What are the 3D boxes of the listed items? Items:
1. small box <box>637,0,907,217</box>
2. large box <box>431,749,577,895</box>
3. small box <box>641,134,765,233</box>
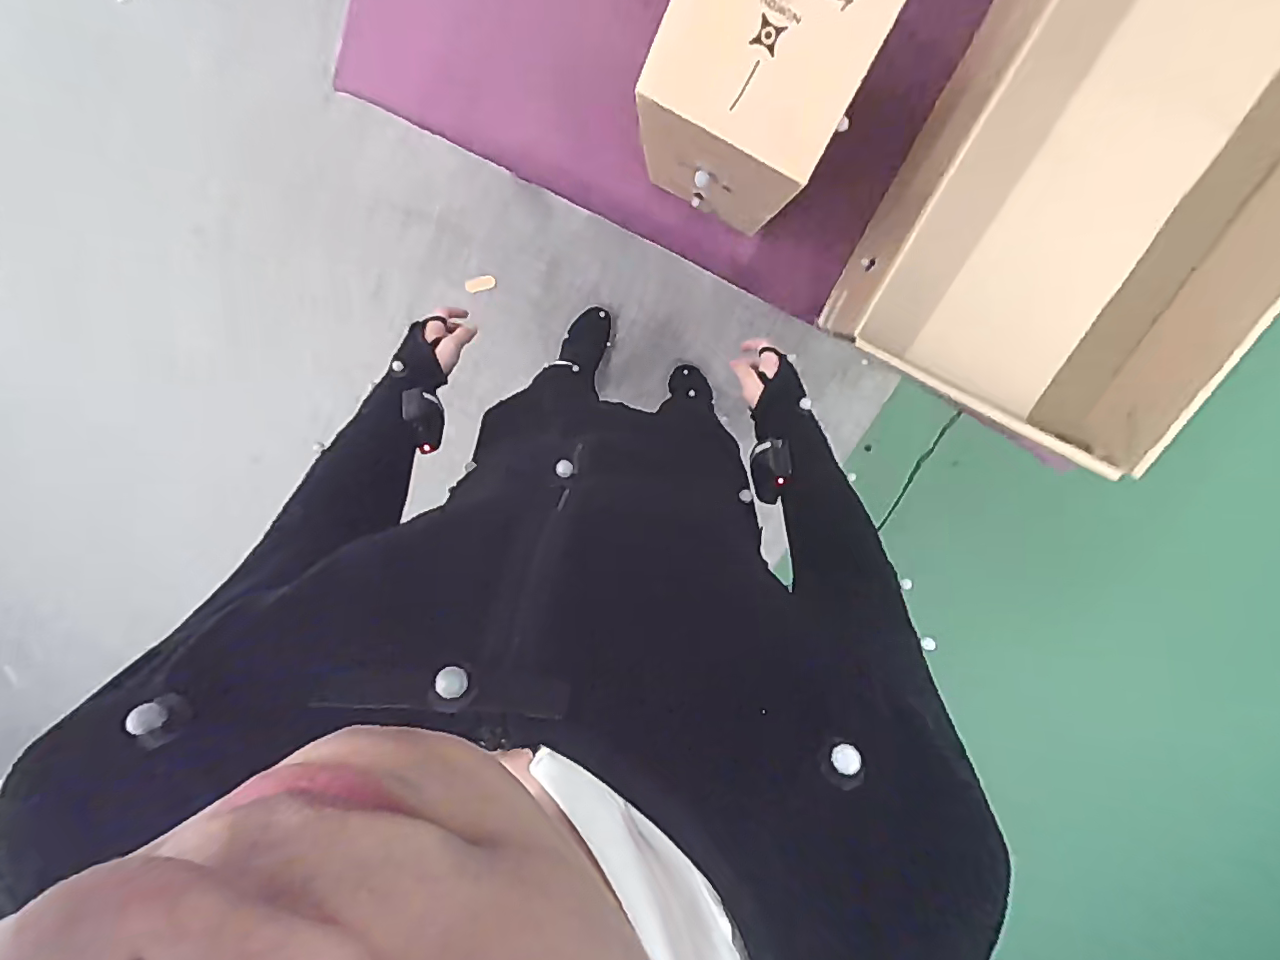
[{"bbox_3d":[0.109,-0.380,0.509,0.168,0.176,0.179,27,107,-5],"label":"small box"},{"bbox_3d":[-0.463,1.206,1.926,0.408,0.320,0.320,-5,108,4],"label":"large box"},{"bbox_3d":[0.116,-0.429,0.664,0.168,0.176,0.179,27,107,-6],"label":"small box"}]
